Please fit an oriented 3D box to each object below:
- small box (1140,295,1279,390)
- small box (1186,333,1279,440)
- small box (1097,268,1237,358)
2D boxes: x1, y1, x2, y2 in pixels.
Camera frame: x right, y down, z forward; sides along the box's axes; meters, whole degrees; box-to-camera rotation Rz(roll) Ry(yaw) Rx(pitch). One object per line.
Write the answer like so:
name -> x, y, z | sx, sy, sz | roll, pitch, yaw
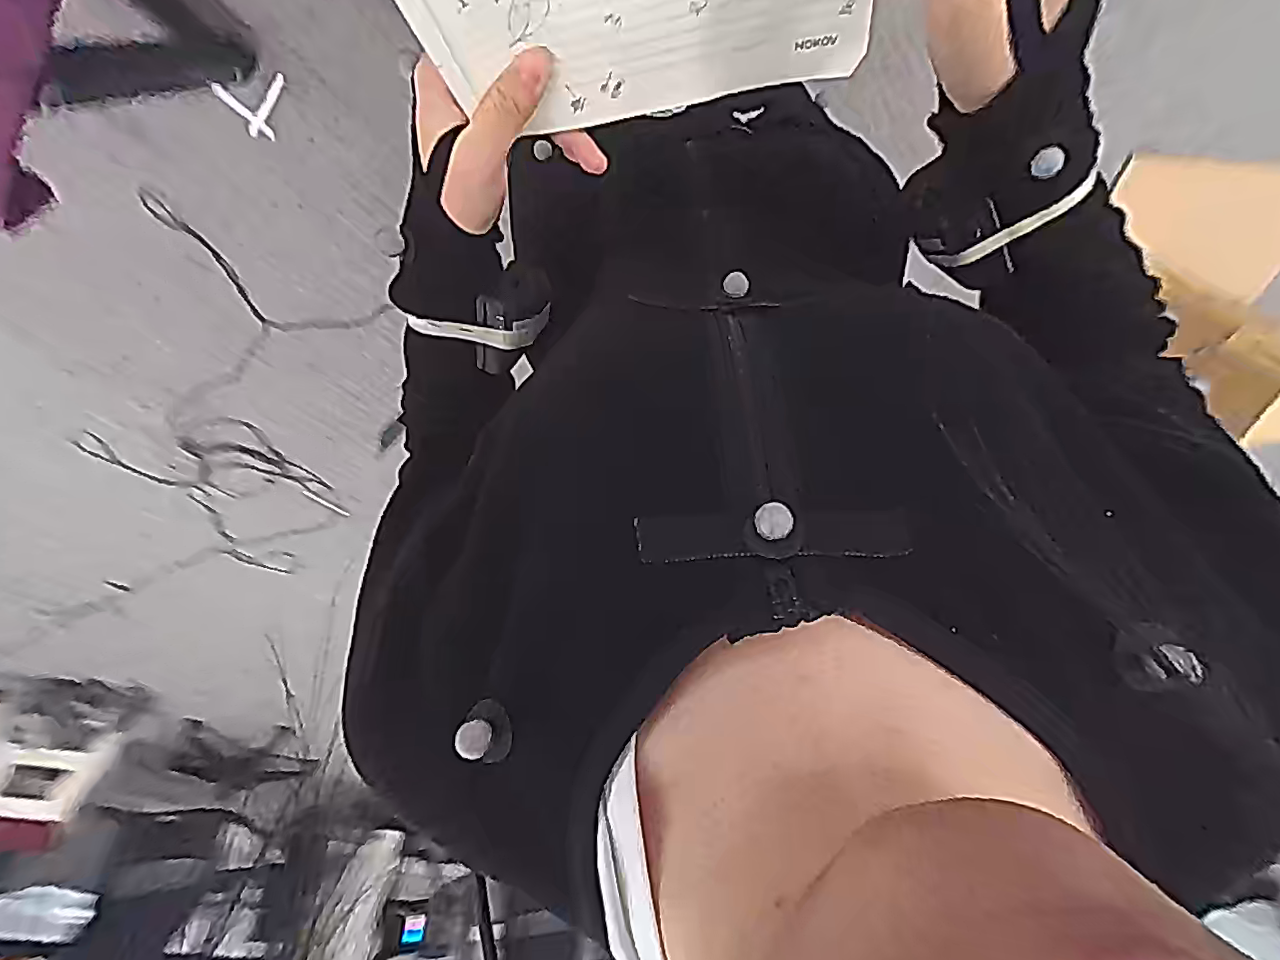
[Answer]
small box -> 1.382, -0.332, 1.302 | 0.168, 0.176, 0.179 | 0, 132, -5
small box -> 1.388, -0.212, 1.192 | 0.168, 0.176, 0.179 | -6, 133, 0
small box -> 1.370, -0.440, 1.427 | 0.168, 0.176, 0.179 | -1, 132, -4
